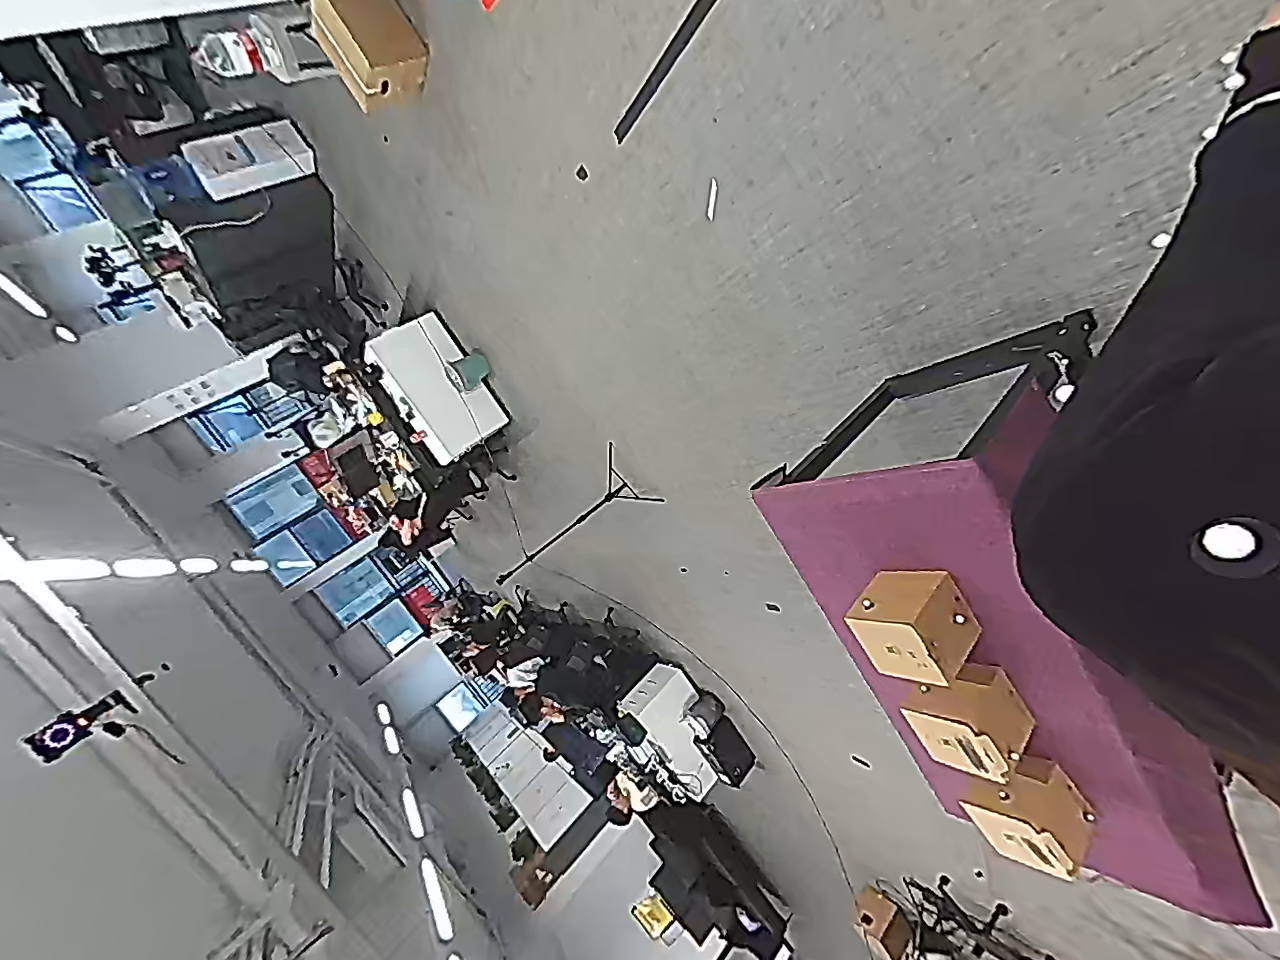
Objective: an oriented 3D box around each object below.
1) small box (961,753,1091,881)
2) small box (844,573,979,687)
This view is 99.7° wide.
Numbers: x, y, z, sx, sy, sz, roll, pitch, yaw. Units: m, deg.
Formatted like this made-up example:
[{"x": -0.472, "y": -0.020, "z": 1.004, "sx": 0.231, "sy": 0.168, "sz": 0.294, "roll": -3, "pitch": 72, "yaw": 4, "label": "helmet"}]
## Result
[{"x": 0.909, "y": 0.775, "z": 1.266, "sx": 0.168, "sy": 0.176, "sz": 0.179, "roll": 53, "pitch": 153, "yaw": -1, "label": "small box"}, {"x": 0.596, "y": 0.319, "z": 1.187, "sx": 0.168, "sy": 0.176, "sz": 0.179, "roll": 55, "pitch": 152, "yaw": -9, "label": "small box"}]
